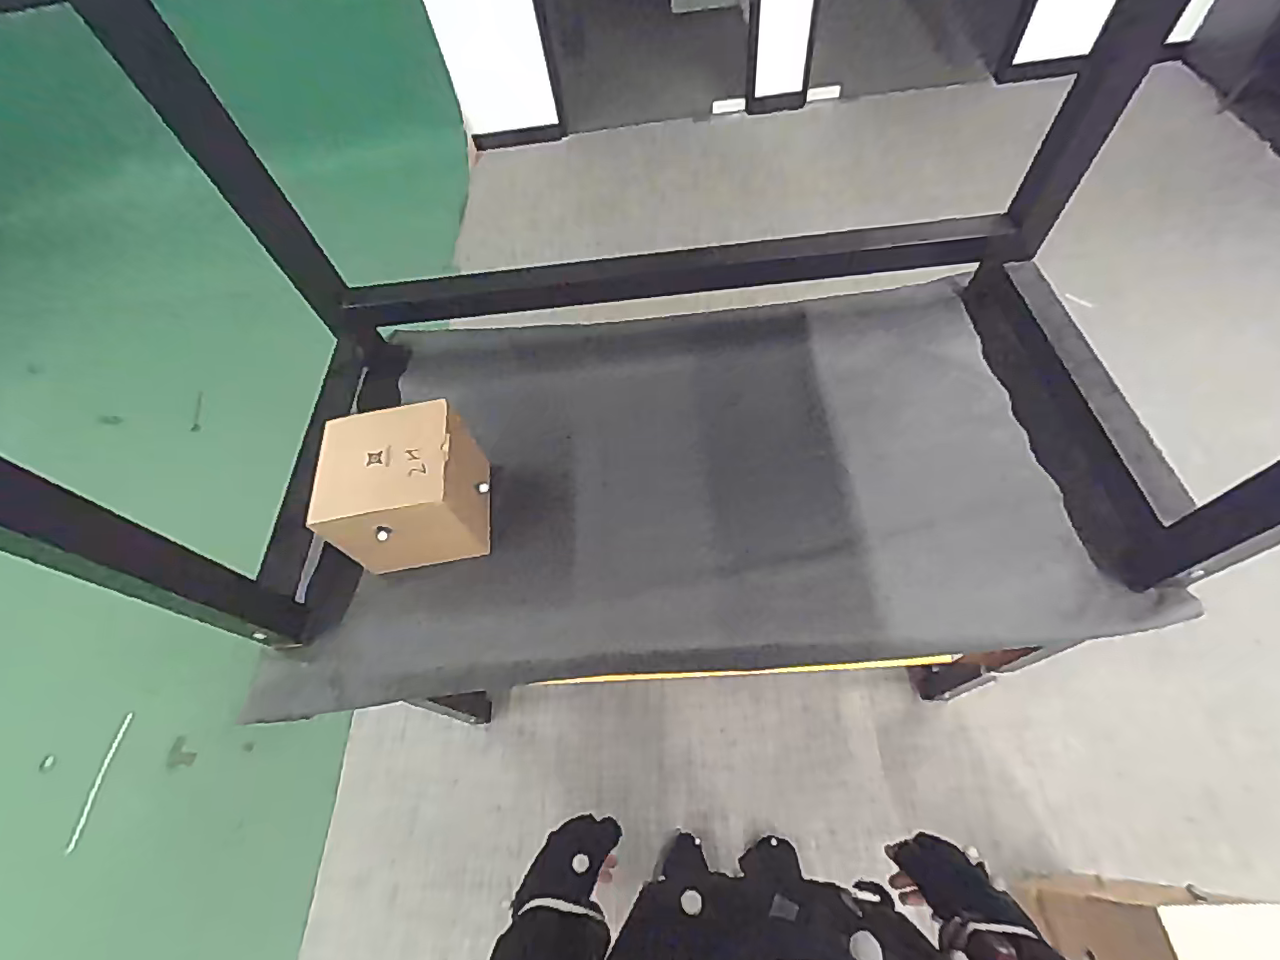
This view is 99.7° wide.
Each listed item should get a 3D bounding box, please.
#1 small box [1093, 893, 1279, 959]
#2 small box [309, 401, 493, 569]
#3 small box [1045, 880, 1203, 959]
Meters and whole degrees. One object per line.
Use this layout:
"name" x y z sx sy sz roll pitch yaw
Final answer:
"small box" 0.759 0.660 0.712 0.168 0.176 0.179 -5 59 5
"small box" -0.324 0.015 0.771 0.179 0.176 0.168 -10 59 1
"small box" 0.792 0.748 0.846 0.168 0.176 0.179 -7 57 3
